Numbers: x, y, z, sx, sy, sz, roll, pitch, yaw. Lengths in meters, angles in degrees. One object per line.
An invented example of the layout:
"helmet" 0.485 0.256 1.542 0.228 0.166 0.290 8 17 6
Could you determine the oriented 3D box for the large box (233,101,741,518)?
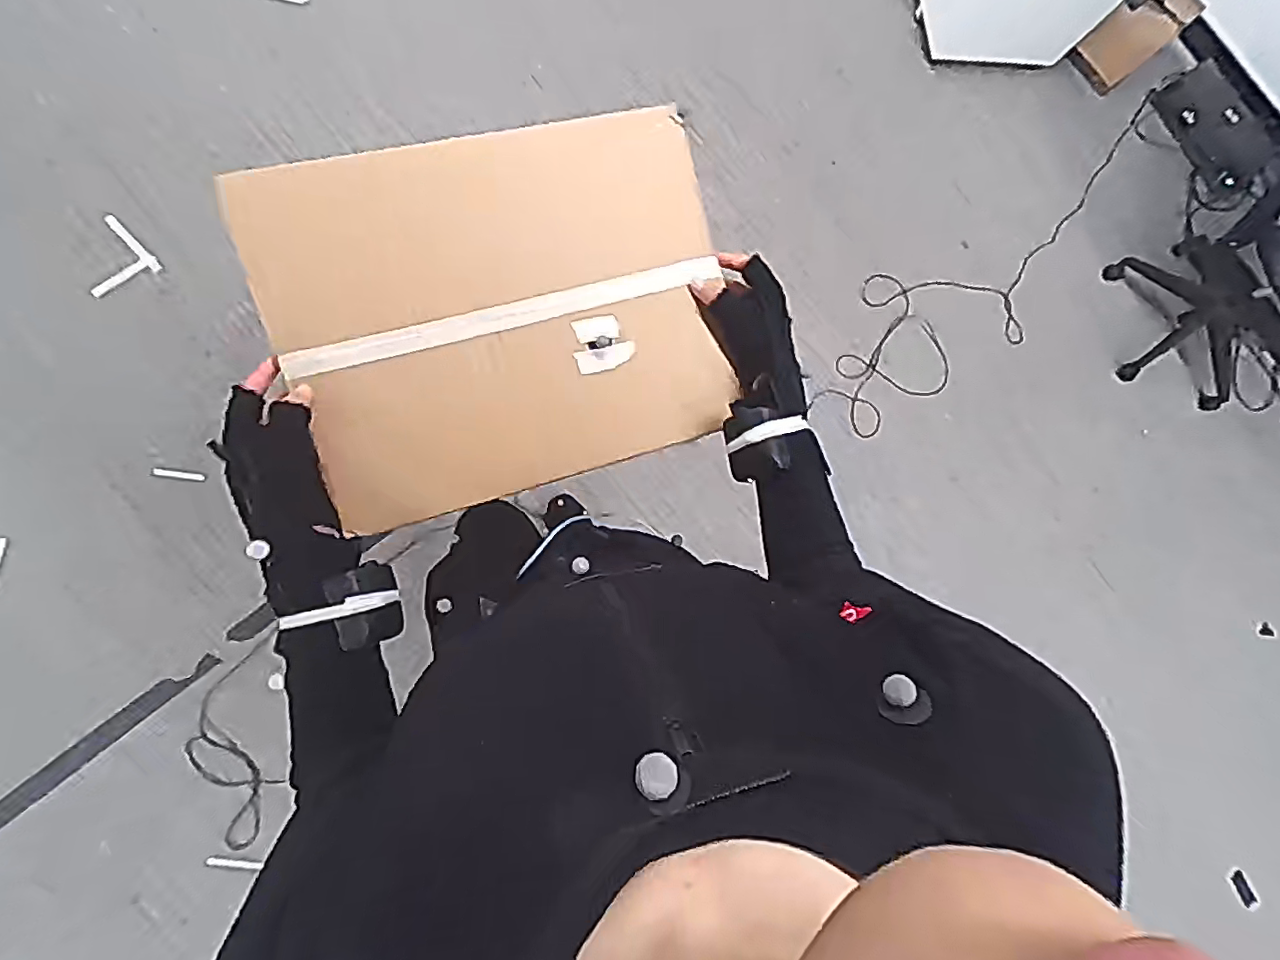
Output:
"large box" -0.154 -0.178 0.655 0.408 0.320 0.320 -18 99 -13
